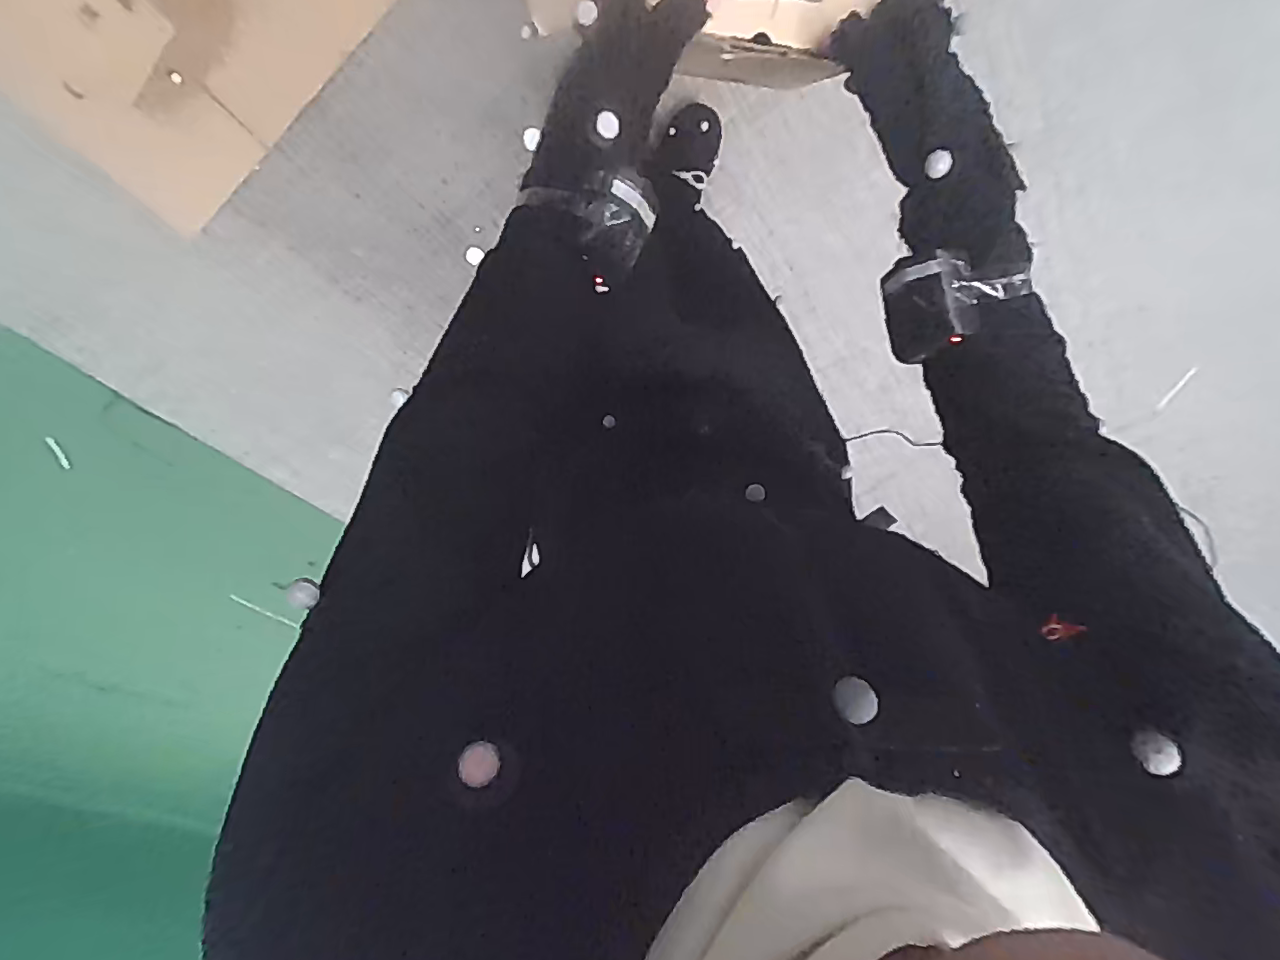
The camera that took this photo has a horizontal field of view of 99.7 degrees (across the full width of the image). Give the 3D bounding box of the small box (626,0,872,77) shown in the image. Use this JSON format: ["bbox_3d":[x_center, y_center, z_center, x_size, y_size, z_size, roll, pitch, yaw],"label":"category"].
[{"bbox_3d":[0.077,-0.421,0.407,0.168,0.176,0.179,0,122,-6],"label":"small box"}]
